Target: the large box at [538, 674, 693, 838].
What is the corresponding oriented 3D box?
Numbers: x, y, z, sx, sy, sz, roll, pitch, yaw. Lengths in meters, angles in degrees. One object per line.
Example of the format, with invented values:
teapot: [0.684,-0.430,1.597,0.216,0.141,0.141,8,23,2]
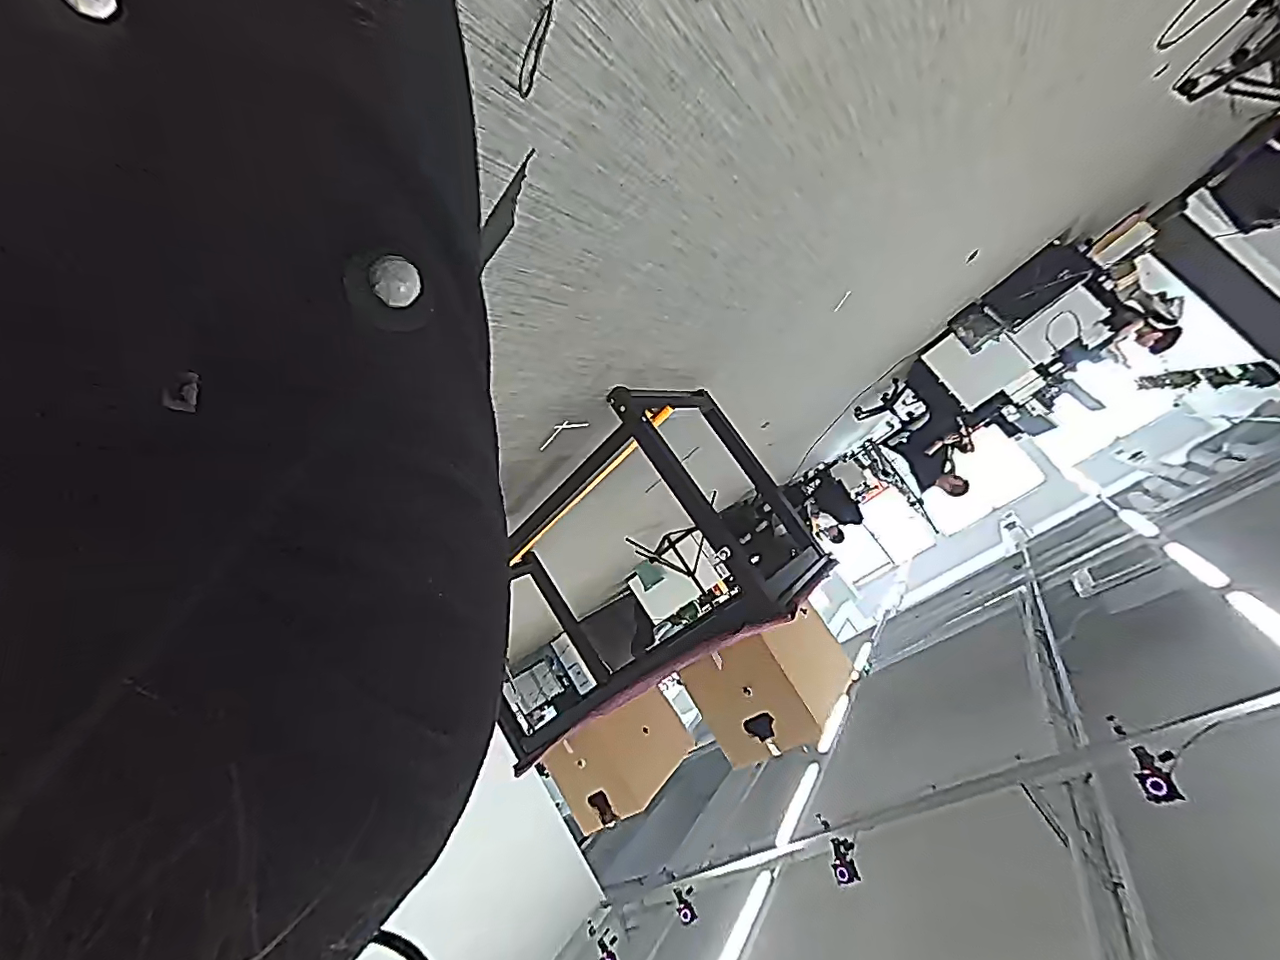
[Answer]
large box: [-0.084,0.977,1.952,0.320,0.320,0.408,-41,167,29]
